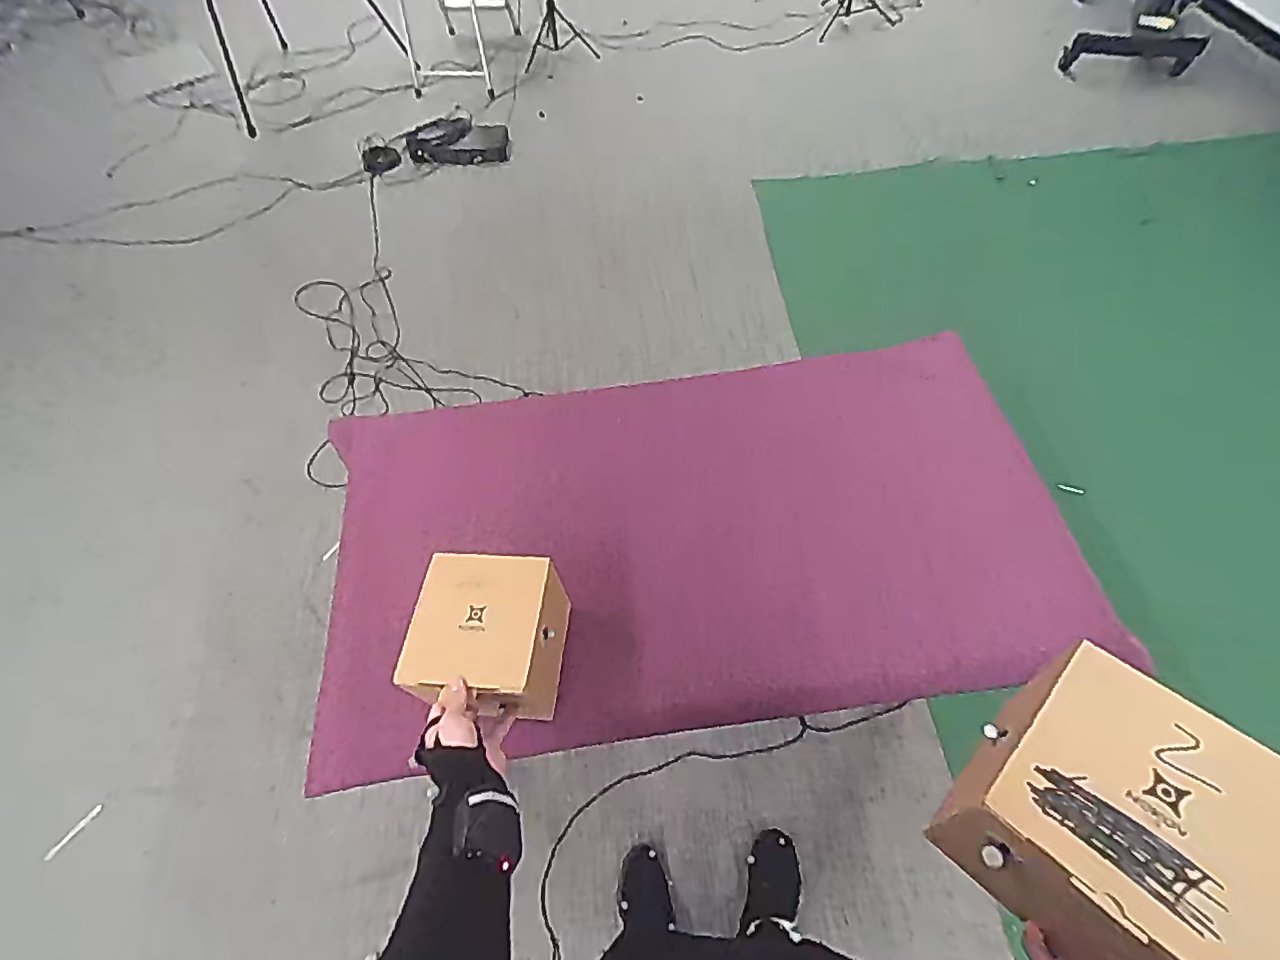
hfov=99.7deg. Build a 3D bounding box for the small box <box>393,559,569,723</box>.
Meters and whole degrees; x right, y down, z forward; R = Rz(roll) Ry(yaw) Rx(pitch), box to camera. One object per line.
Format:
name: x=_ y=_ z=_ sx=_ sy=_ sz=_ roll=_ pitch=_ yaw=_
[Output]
small box: x=-0.202 y=0.227 z=0.750 sx=0.168 sy=0.176 sz=0.179 roll=2 pitch=55 yaw=7
